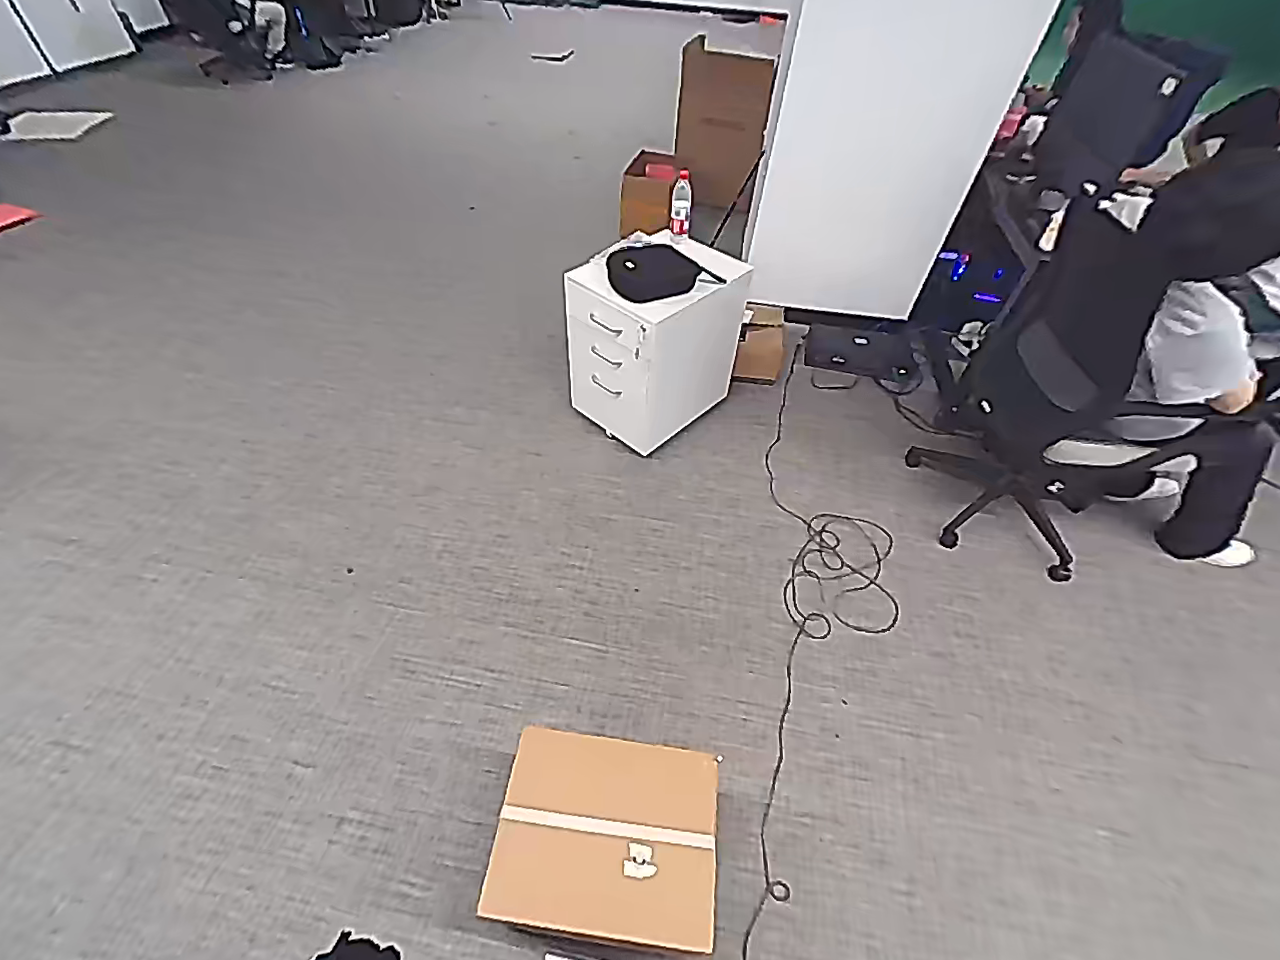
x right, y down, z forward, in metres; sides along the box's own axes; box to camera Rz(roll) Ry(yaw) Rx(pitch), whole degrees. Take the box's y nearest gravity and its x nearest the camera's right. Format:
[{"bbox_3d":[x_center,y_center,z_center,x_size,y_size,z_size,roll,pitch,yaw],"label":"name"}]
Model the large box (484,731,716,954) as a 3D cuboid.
[{"bbox_3d":[-0.067,0.754,1.123,0.408,0.320,0.320,7,48,2],"label":"large box"}]
